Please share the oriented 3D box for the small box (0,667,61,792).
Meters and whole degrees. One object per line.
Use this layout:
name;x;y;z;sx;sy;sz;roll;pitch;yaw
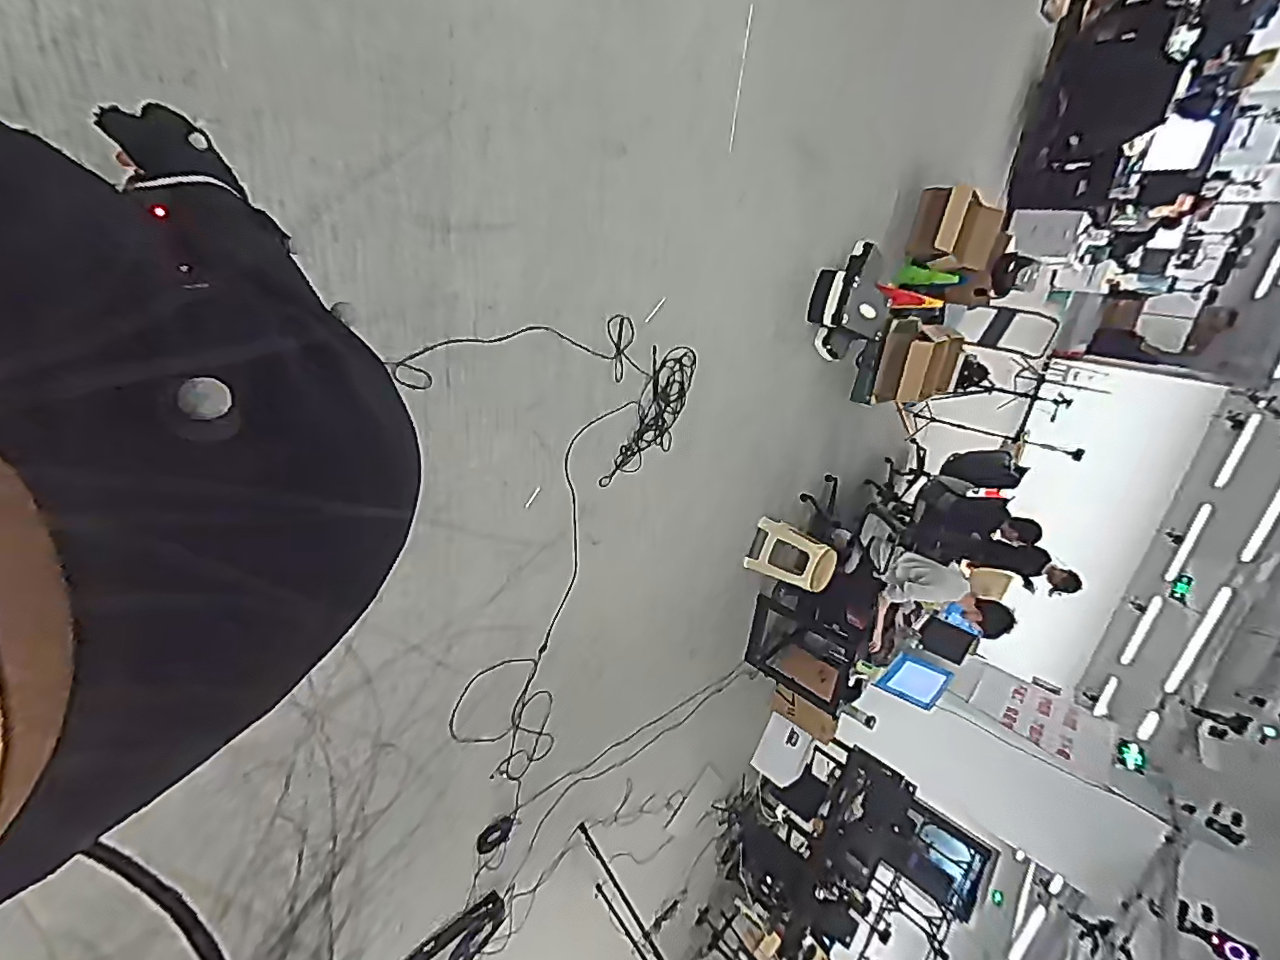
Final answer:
small box;-1.289;0.498;1.067;0.168;0.176;0.179;-15;121;-44
